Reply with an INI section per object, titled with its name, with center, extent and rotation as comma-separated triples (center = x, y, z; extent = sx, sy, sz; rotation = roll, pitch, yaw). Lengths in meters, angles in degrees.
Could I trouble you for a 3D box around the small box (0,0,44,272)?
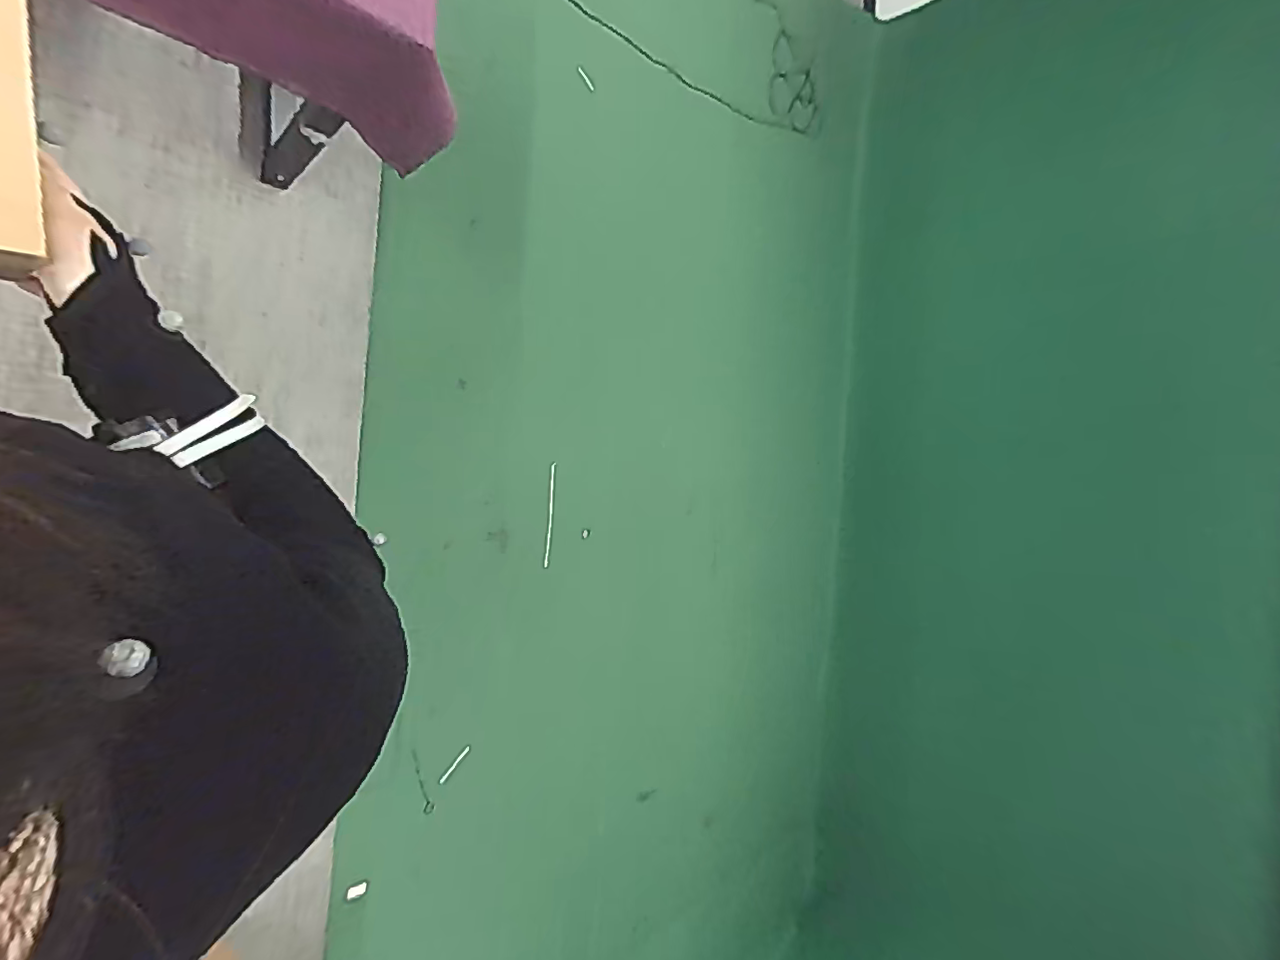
[small box]
center = -0.428, -0.213, 0.268
extent = 0.168, 0.176, 0.179
rotation = -6, 104, -52
